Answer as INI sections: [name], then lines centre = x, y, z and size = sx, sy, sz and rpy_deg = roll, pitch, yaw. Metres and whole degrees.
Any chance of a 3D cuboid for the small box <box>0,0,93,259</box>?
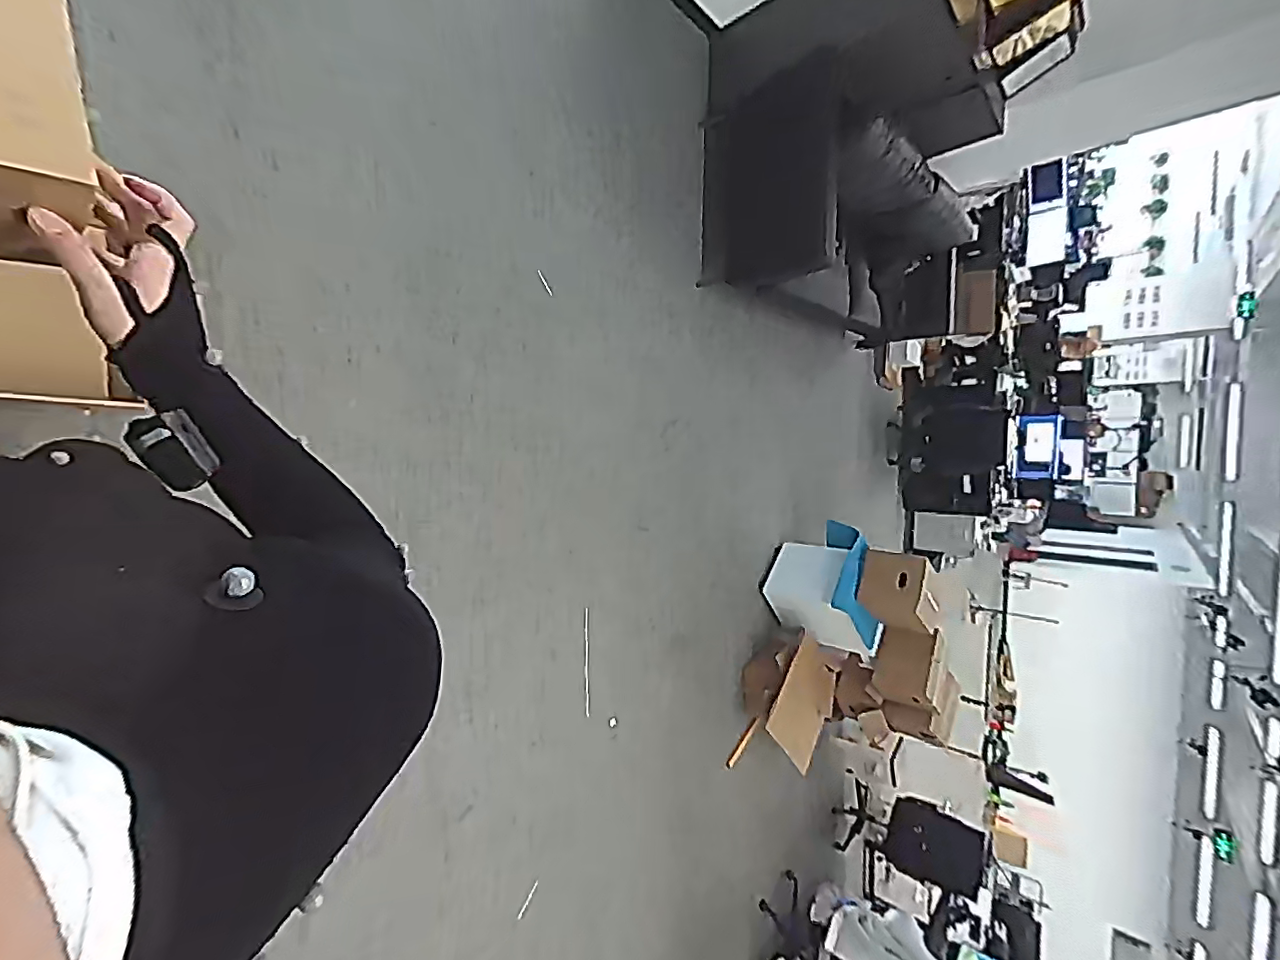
[small box]
centre = -0.500, -0.271, 0.360
size = 0.168, 0.176, 0.179
rpy_deg = -10, 92, -52
